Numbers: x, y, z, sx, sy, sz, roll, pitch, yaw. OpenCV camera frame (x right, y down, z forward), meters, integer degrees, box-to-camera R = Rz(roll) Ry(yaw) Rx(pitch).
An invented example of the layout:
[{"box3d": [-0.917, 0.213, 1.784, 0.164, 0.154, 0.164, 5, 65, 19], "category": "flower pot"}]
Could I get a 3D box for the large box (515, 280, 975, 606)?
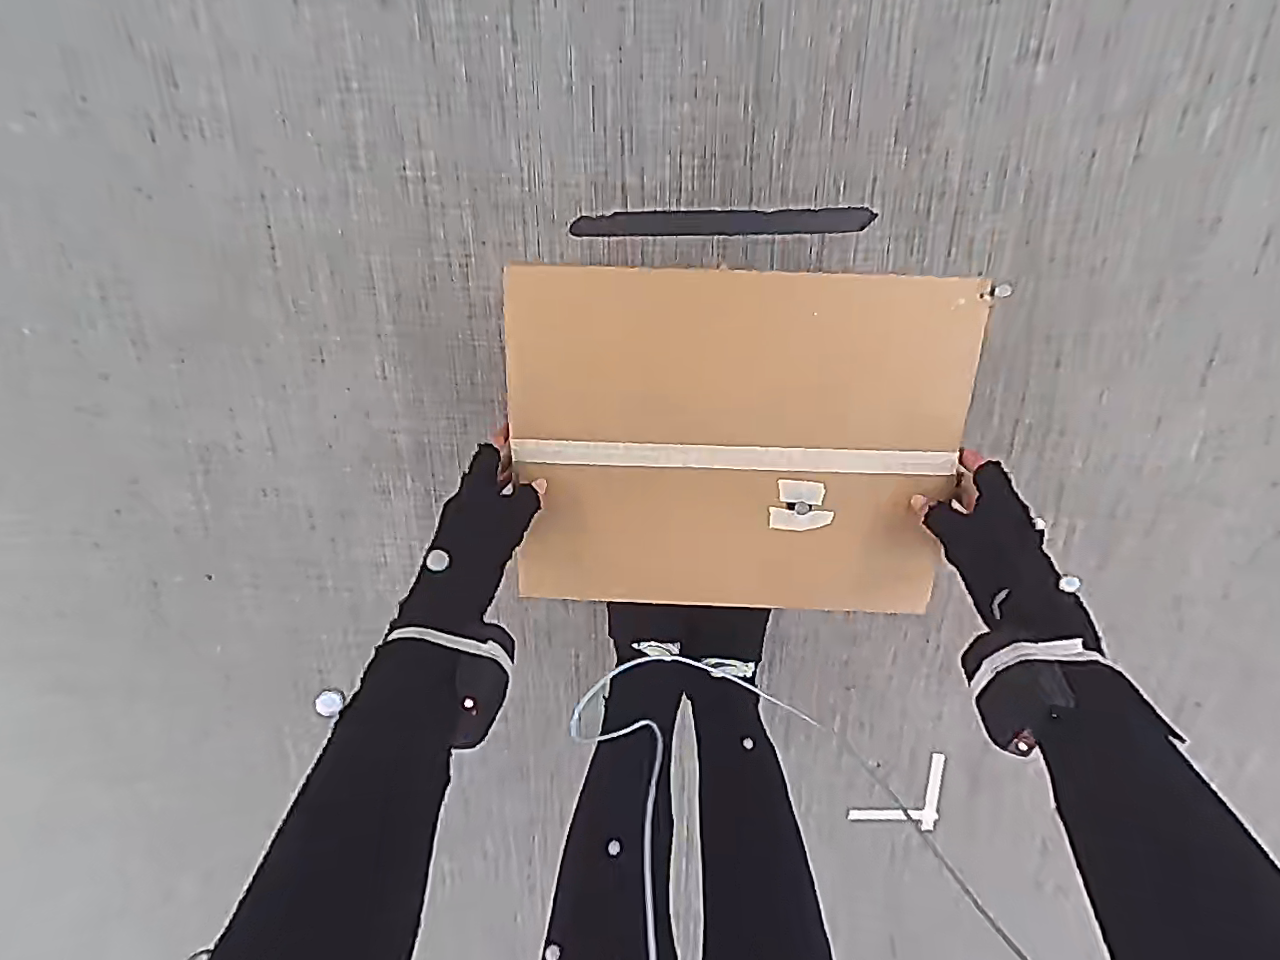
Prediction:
[{"box3d": [0.091, -0.063, 0.649, 0.408, 0.320, 0.320, 2, 108, 1], "category": "large box"}]
